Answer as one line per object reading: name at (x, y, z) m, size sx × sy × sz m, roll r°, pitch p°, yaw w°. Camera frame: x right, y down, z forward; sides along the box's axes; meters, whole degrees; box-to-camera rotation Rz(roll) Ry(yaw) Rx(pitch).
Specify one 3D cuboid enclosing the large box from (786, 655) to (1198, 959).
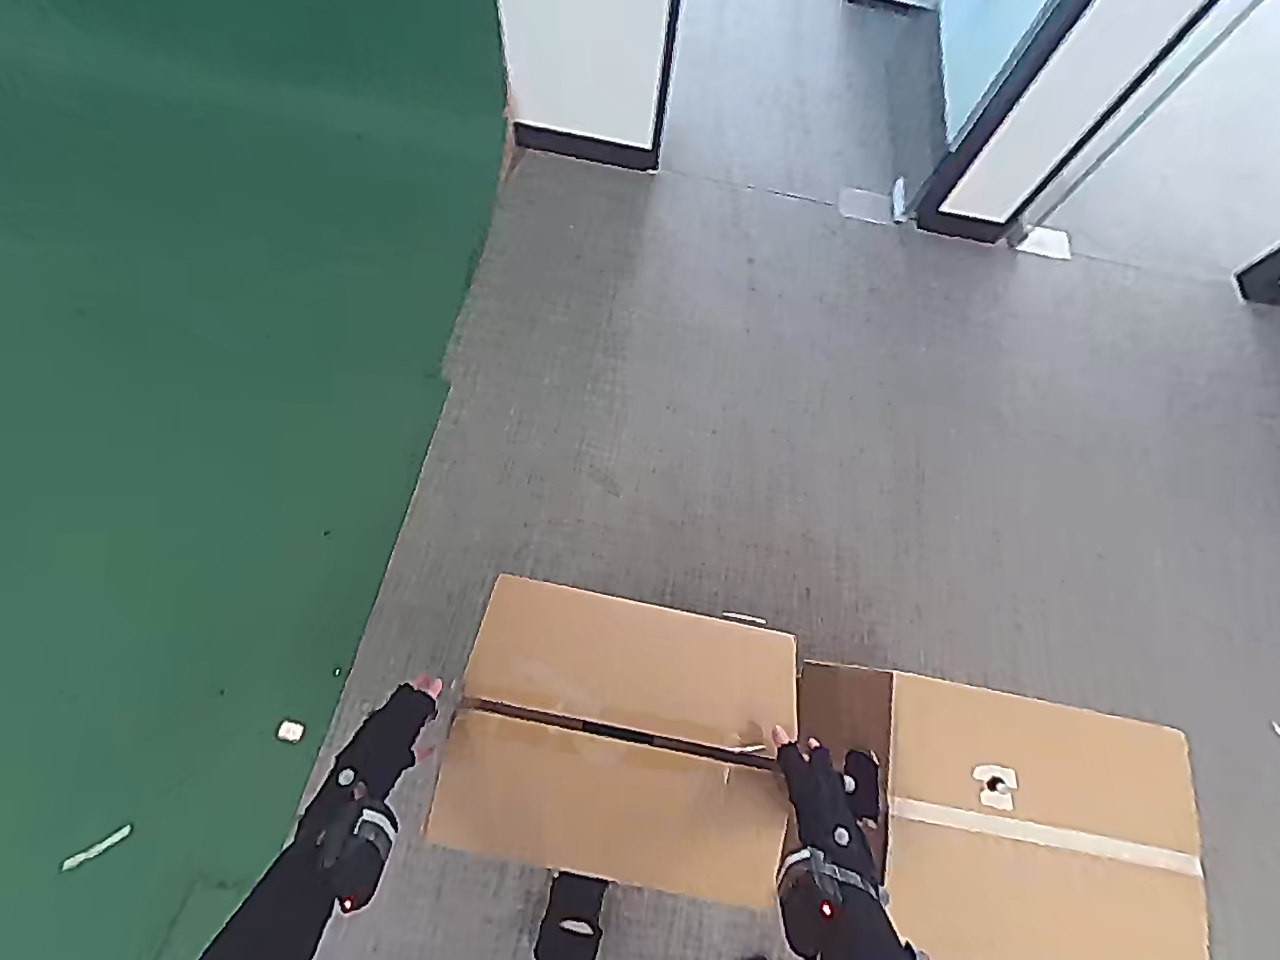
large box at (0.475, 0.459, 0.808) m, size 0.408 × 0.320 × 0.320 m, roll 11°, pitch 73°, yaw 0°
